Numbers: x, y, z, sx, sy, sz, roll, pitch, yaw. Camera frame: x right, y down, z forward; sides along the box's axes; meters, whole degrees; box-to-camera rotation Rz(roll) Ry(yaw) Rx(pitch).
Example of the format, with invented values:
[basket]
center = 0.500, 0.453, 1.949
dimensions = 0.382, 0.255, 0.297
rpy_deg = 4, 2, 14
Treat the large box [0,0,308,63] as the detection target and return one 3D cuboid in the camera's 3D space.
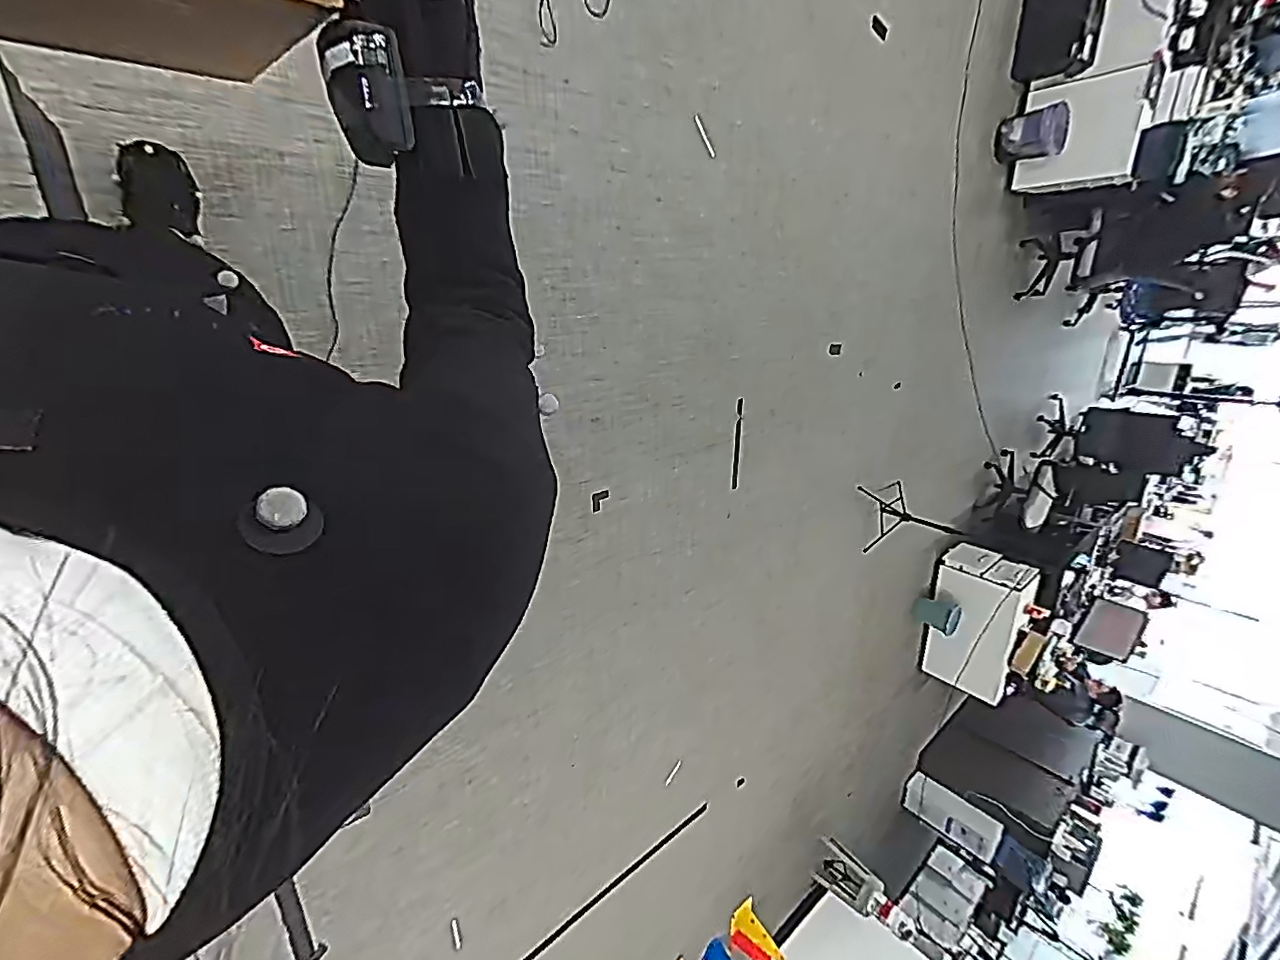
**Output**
[large box]
center = -0.407, -0.408, 0.210
dimensions = 0.408, 0.320, 0.320
rpy_deg = -18, 125, -38
